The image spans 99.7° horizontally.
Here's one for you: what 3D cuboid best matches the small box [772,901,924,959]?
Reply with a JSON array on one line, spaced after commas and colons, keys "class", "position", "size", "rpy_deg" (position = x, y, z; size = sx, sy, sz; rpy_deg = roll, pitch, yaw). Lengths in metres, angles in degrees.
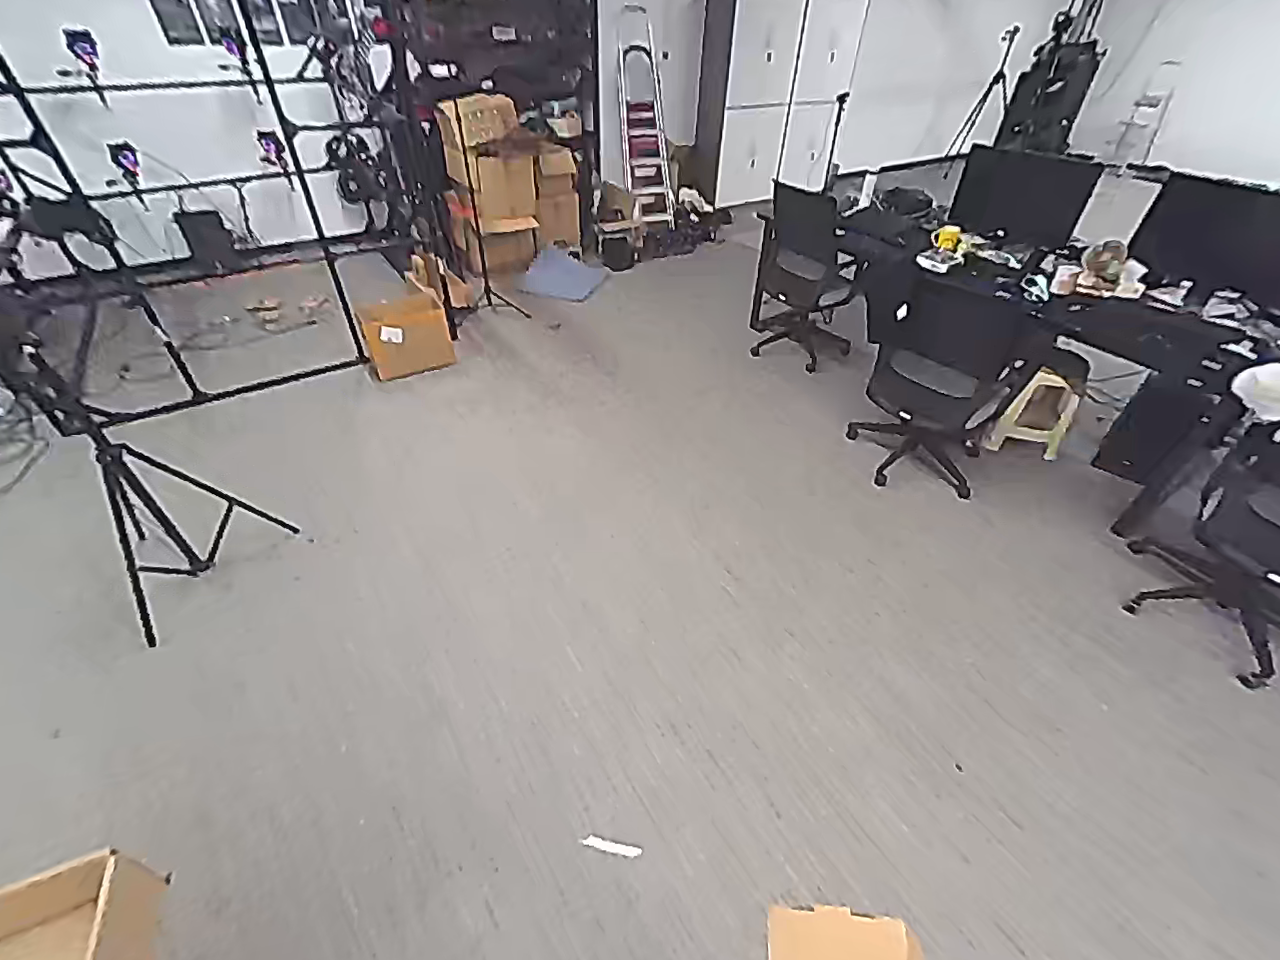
[{"class": "small box", "position": [0.262, 0.645, 0.653], "size": [0.168, 0.176, 0.179], "rpy_deg": [-14, 39, 23]}]
